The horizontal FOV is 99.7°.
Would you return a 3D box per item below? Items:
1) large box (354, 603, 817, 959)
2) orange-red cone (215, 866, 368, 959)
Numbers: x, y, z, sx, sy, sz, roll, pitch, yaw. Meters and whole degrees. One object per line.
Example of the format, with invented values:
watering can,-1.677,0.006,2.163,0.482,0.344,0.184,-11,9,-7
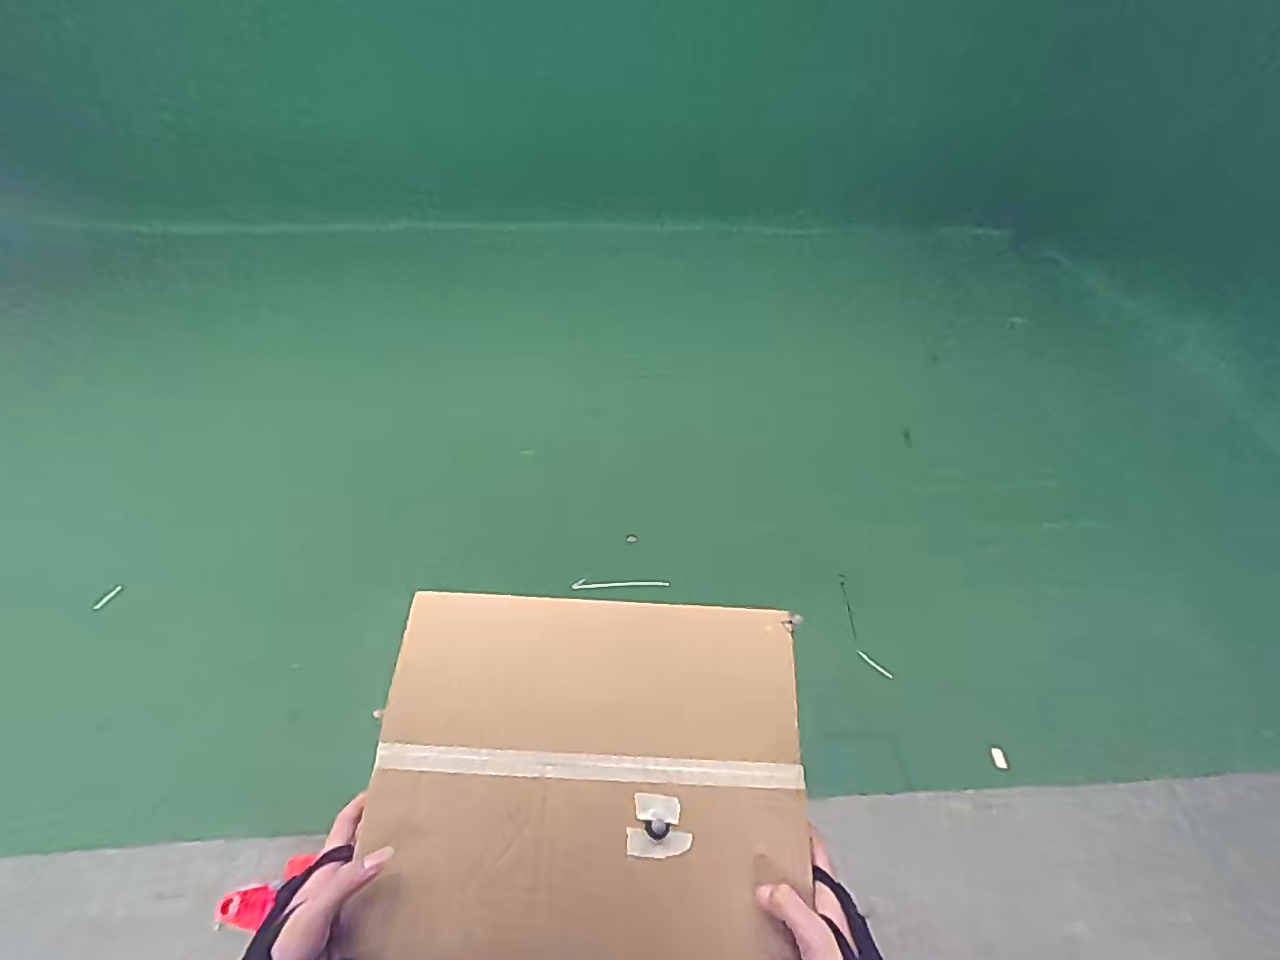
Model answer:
large box,-0.047,0.346,0.656,0.408,0.320,0.320,3,64,0
orange-red cone,-0.741,0.891,1.095,0.199,0.360,0.198,3,50,2
